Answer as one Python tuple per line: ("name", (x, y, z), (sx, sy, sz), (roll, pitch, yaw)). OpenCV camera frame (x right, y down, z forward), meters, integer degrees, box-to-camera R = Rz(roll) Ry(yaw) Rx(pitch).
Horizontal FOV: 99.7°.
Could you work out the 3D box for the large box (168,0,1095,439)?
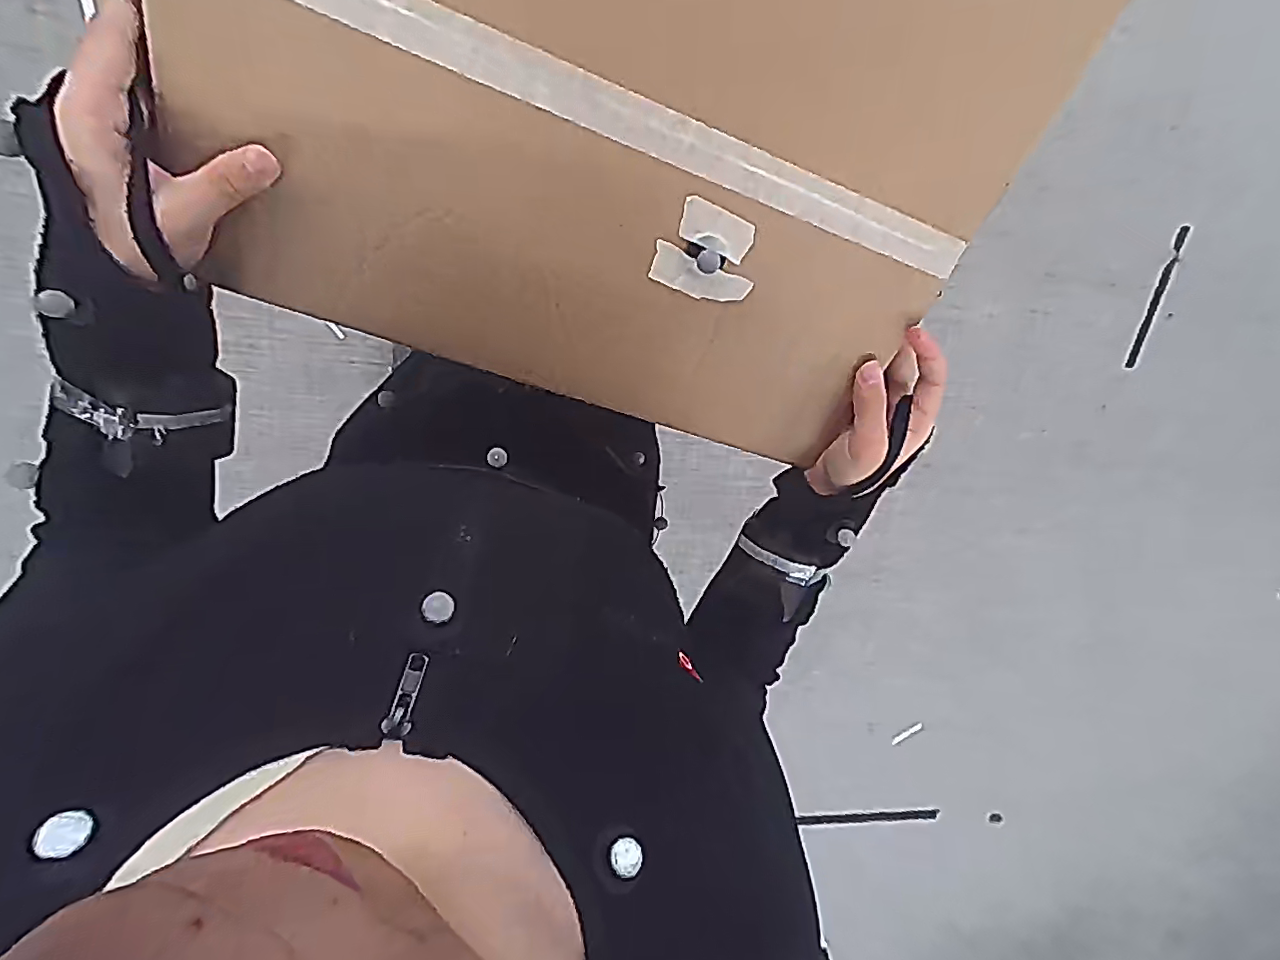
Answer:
("large box", (-0.018, -0.281, 0.386), (0.408, 0.320, 0.320), (15, 125, -14))
